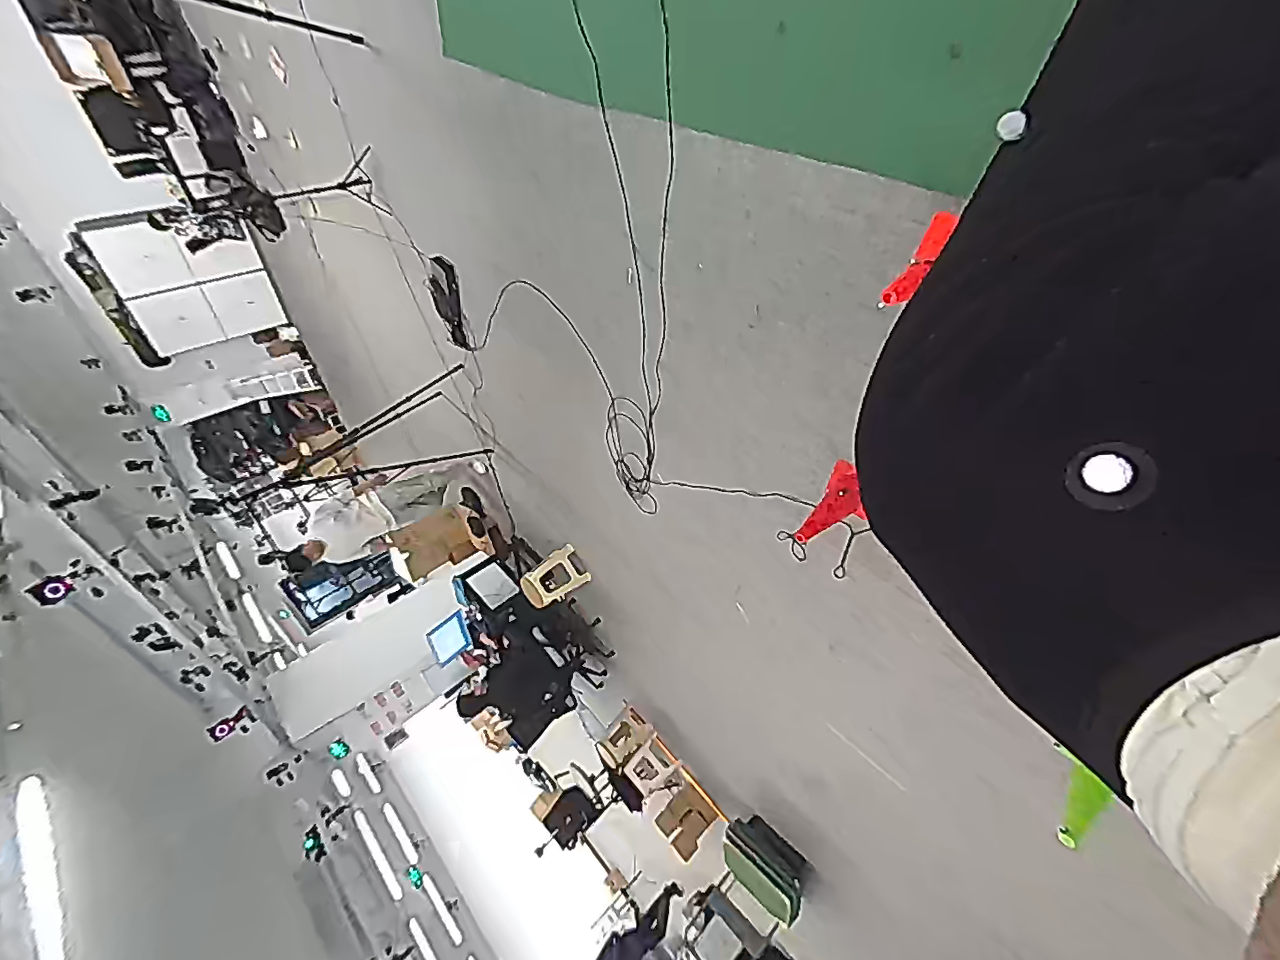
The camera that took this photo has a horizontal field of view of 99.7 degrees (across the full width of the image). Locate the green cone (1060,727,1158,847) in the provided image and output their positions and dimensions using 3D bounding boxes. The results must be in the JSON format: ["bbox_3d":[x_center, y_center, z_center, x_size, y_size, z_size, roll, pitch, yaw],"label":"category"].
[{"bbox_3d":[1.444,1.013,1.723,0.200,0.368,0.202,40,144,25],"label":"green cone"}]

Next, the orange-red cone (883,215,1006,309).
[{"bbox_3d":[0.721,-0.512,1.373,0.199,0.360,0.198,43,145,25],"label":"orange-red cone"}]
